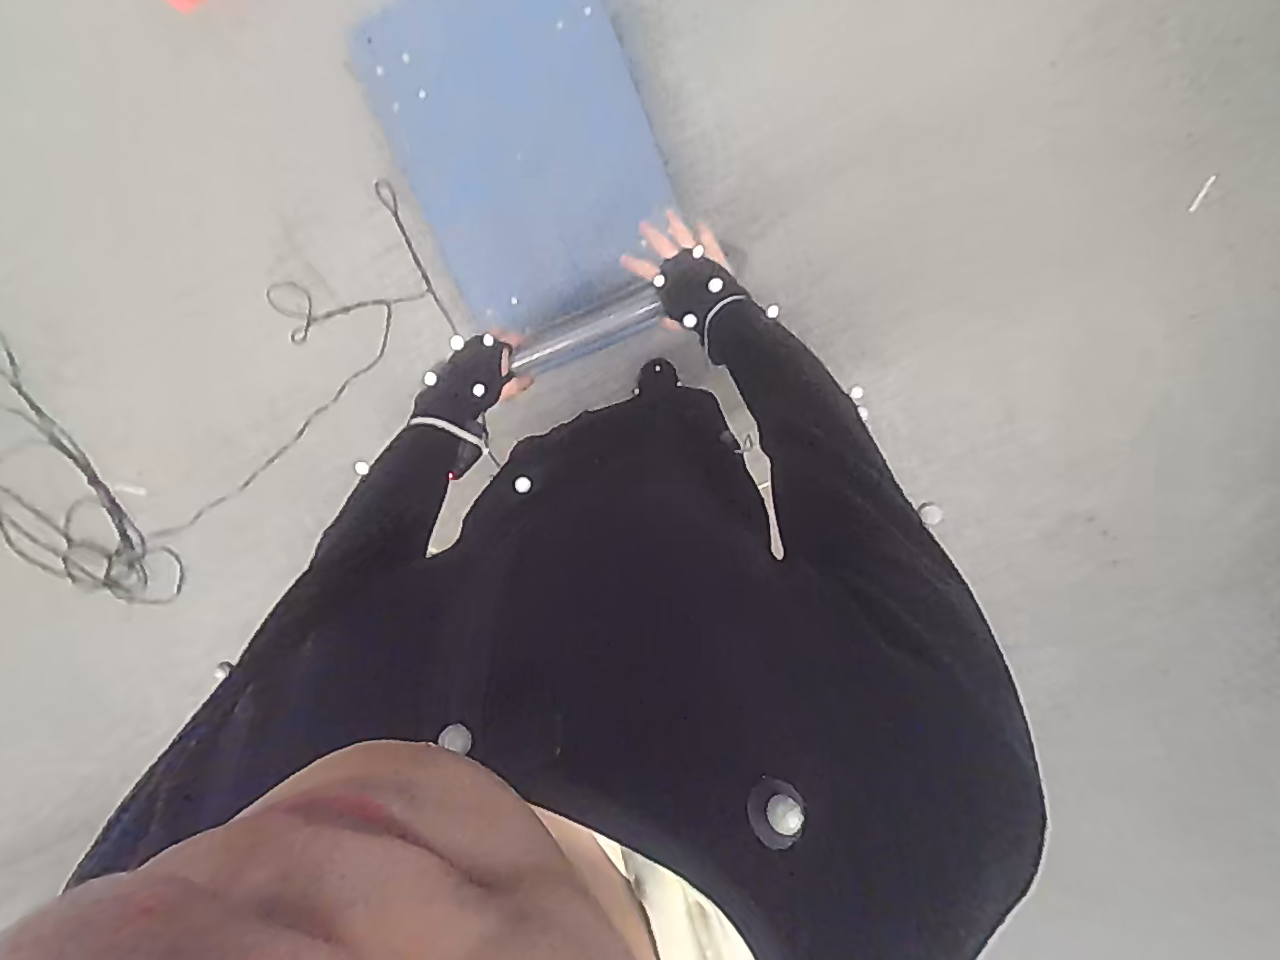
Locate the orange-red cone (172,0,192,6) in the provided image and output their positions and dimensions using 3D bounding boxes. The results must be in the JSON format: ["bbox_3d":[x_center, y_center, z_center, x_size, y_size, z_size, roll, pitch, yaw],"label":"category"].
[{"bbox_3d":[-1.159,-1.283,1.176,0.199,0.360,0.198,-40,98,11],"label":"orange-red cone"}]
